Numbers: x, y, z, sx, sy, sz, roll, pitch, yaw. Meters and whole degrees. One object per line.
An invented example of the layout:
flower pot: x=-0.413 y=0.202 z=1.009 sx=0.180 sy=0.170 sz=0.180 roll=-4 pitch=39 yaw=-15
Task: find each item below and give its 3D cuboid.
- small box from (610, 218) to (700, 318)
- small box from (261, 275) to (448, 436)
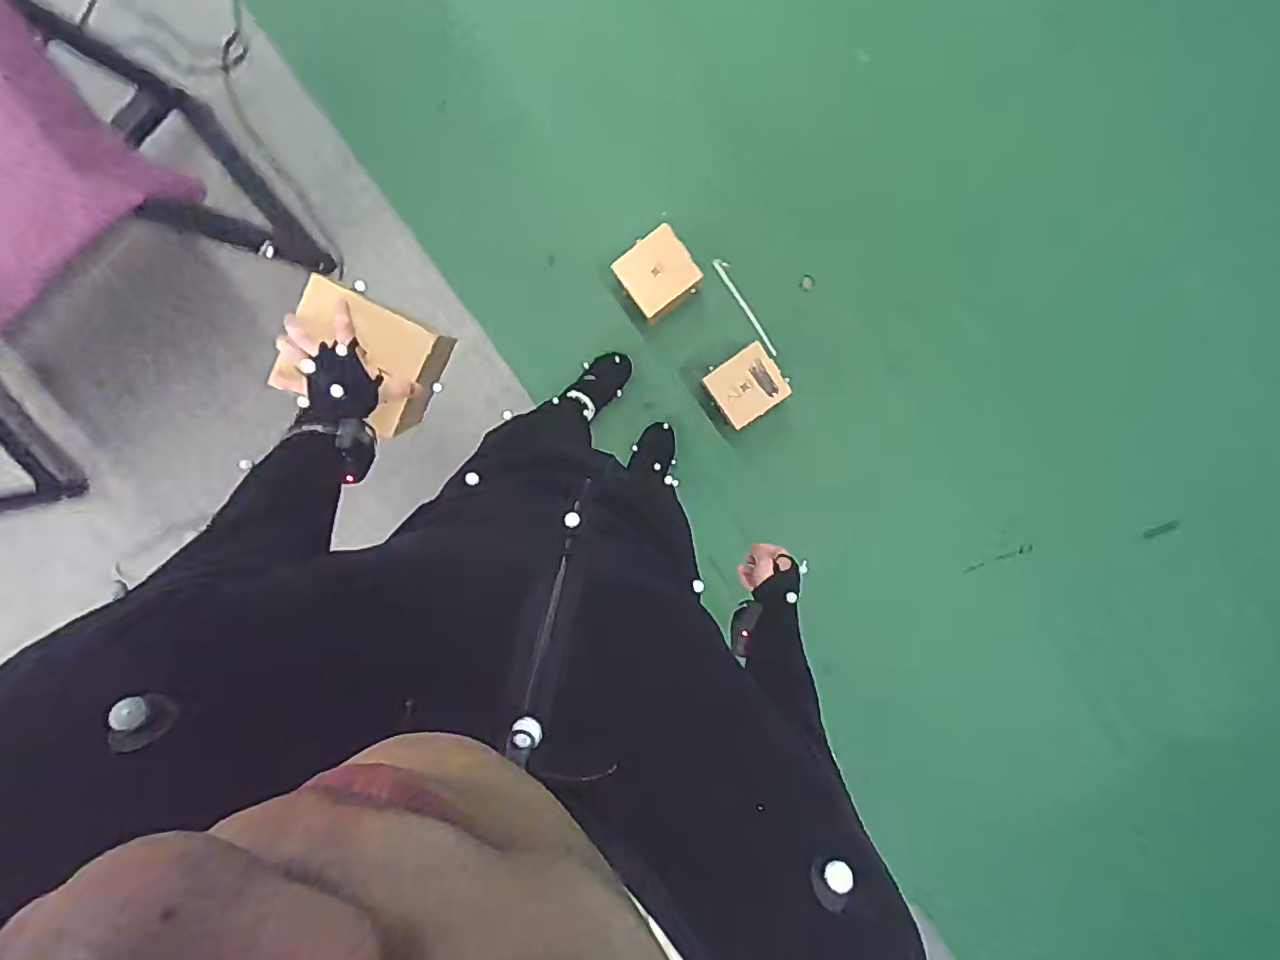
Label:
small box: x=0.045 y=-0.553 z=1.439 sx=0.179 sy=0.176 sz=0.168 roll=-35 pitch=96 yaw=8
small box: x=-0.418 y=-0.184 z=0.822 sx=0.179 sy=0.176 sz=0.168 roll=25 pitch=99 yaw=-14
